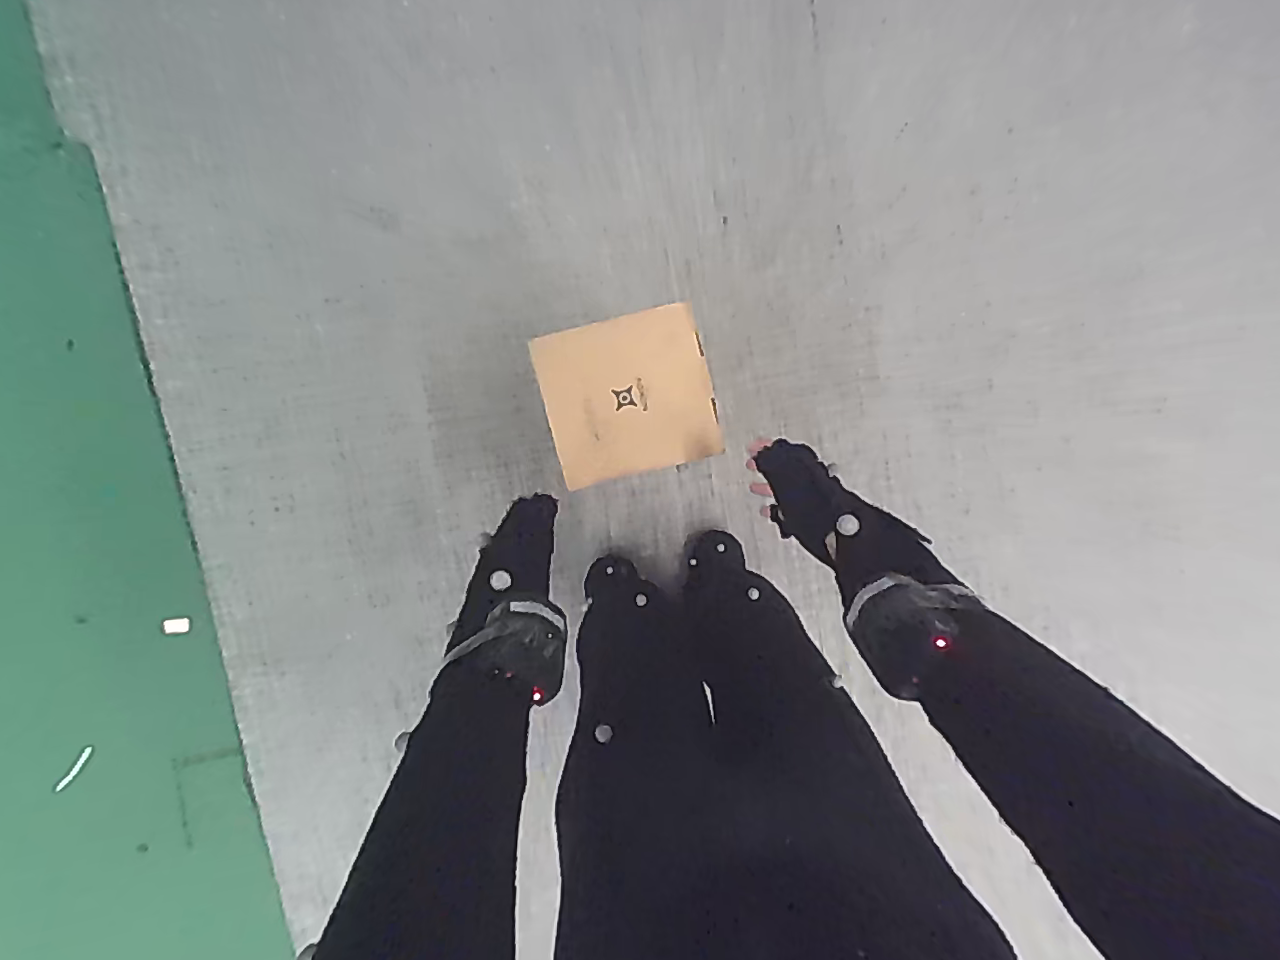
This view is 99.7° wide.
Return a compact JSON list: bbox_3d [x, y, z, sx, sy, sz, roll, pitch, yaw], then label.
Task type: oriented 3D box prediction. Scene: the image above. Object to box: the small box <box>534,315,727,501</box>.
[{"bbox_3d":[-0.011,-0.083,0.652,0.179,0.176,0.168,-15,94,1],"label":"small box"}]
